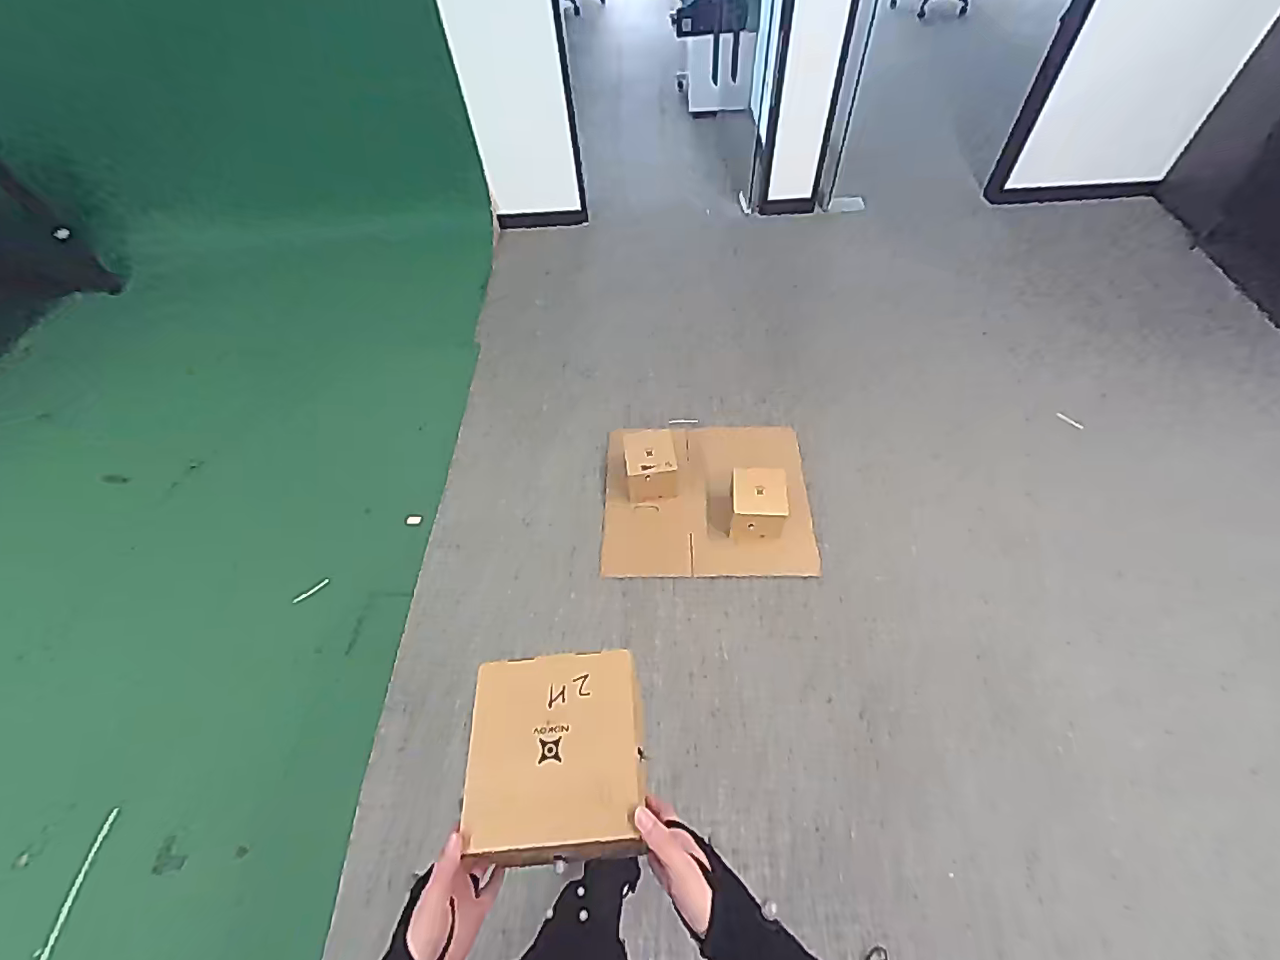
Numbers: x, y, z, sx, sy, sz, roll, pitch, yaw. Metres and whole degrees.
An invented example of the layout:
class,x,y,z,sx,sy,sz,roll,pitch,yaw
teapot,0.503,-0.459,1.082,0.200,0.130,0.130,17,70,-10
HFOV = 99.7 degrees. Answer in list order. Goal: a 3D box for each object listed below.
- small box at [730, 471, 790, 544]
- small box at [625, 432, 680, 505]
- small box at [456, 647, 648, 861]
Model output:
class,x,y,z,sx,sy,sz,roll,pitch,yaw
small box,0.379,0.090,1.725,0.168,0.176,0.179,2,54,5
small box,0.041,-0.037,1.839,0.168,0.176,0.179,-7,54,-2
small box,-0.081,0.304,0.591,0.168,0.176,0.179,-5,50,1
